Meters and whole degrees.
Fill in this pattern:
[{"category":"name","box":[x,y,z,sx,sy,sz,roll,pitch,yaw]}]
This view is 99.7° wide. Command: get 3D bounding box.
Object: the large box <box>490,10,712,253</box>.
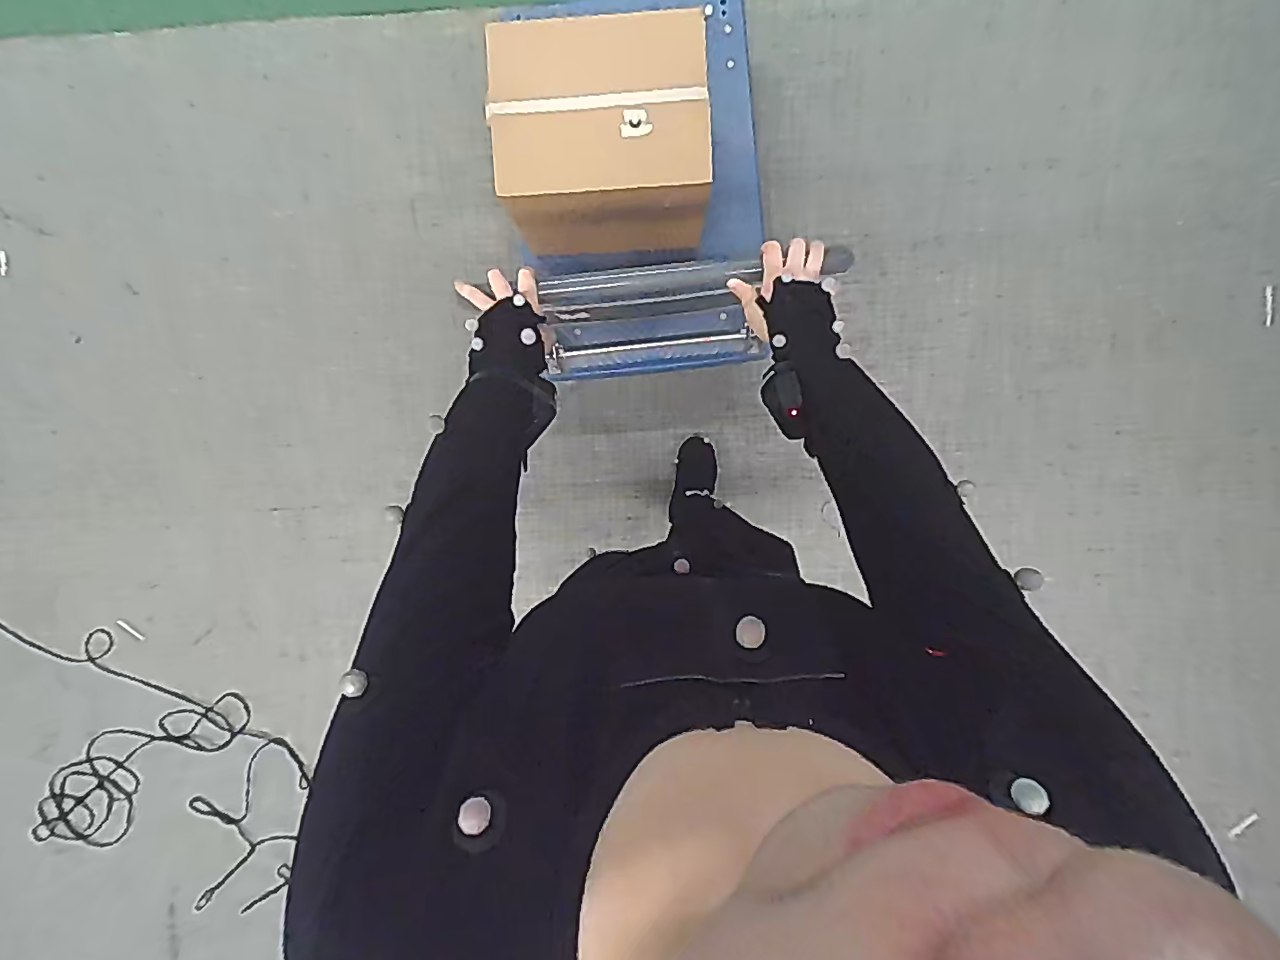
[{"category":"large box","box":[-0.071,-0.710,1.156,0.408,0.320,0.320,-3,93,1]}]
